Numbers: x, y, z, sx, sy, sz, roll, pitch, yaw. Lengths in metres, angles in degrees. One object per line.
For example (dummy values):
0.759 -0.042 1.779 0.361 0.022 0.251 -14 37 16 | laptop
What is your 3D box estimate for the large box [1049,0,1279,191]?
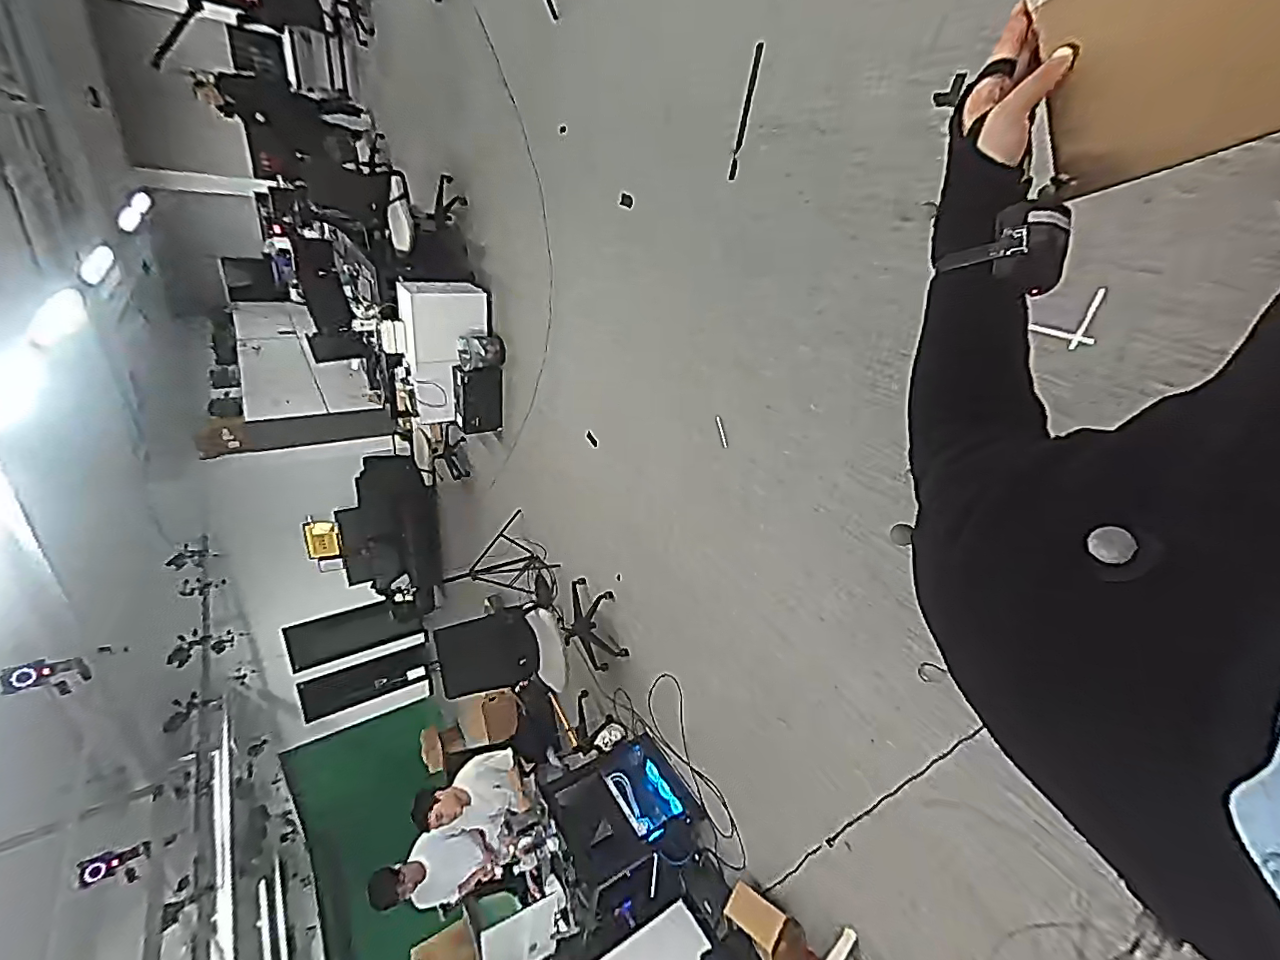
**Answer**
0.541 -0.440 0.329 0.408 0.320 0.320 1 113 57 | large box
